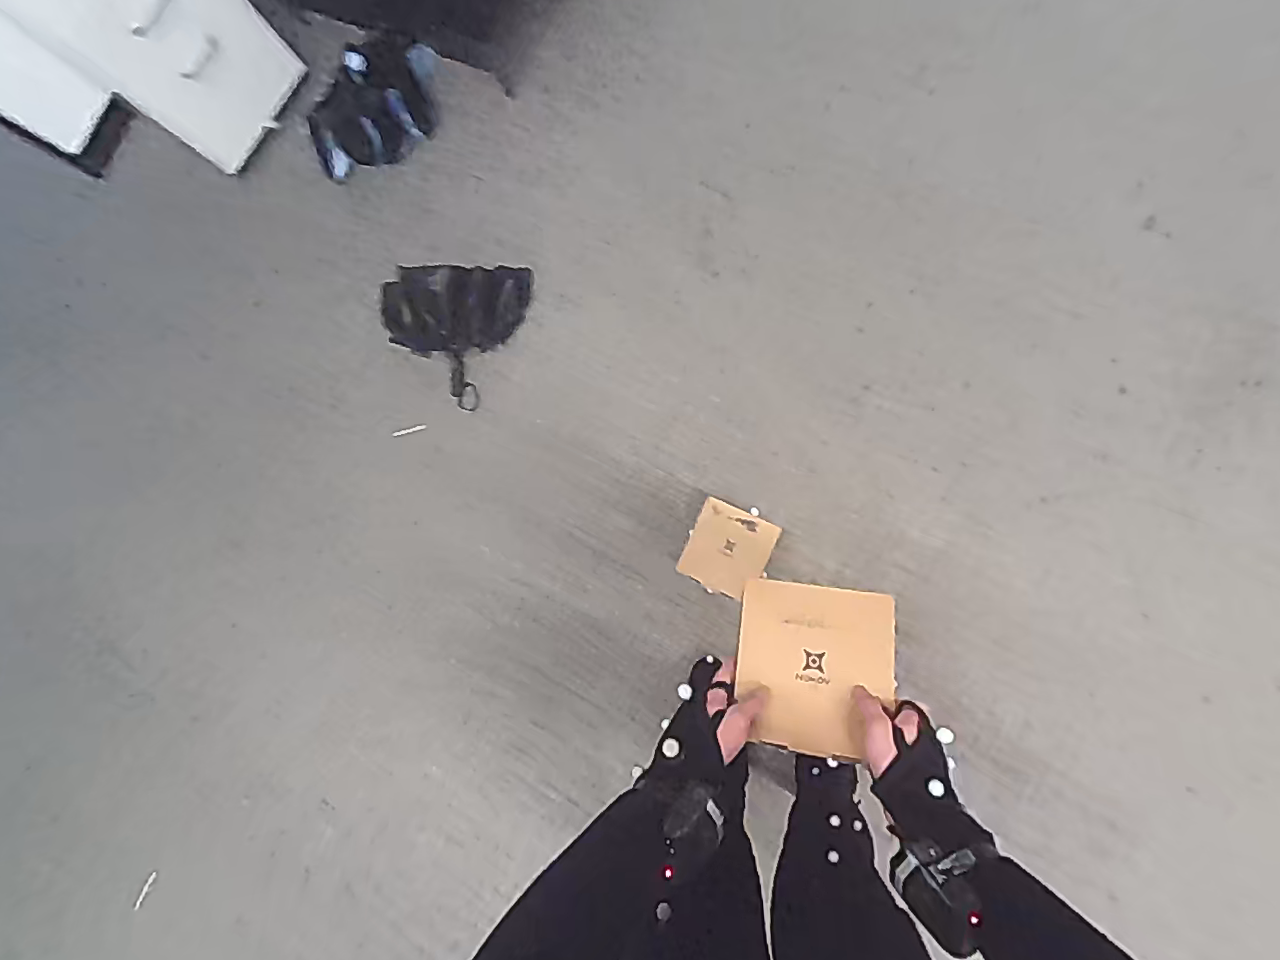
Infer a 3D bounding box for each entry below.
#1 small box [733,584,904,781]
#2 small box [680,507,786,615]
[{"bbox_3d":[0.200,0.234,0.637,0.168,0.176,0.179,4,68,11],"label":"small box"},{"bbox_3d":[0.206,0.176,1.173,0.168,0.176,0.179,24,87,15],"label":"small box"}]
